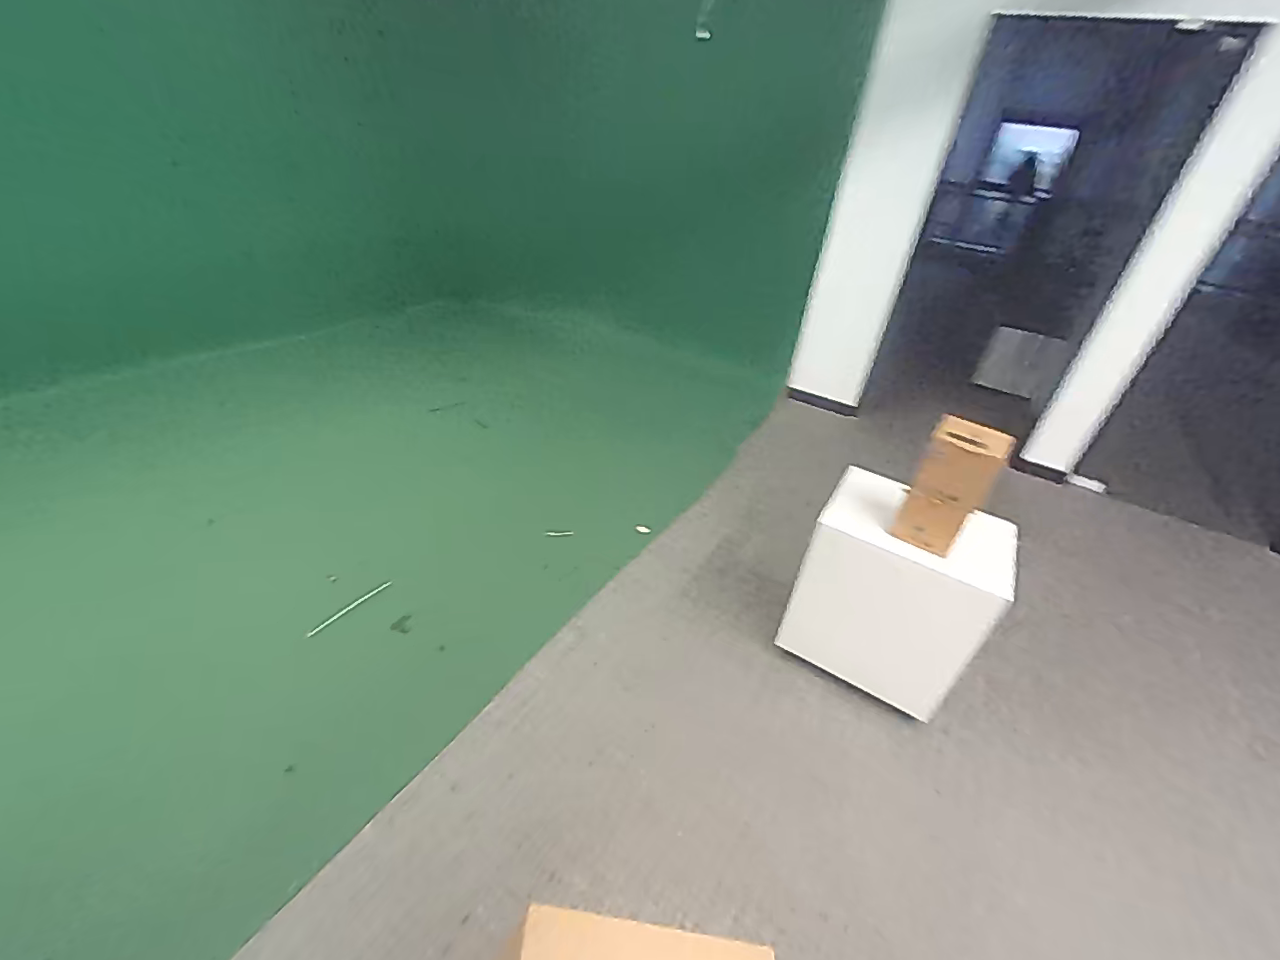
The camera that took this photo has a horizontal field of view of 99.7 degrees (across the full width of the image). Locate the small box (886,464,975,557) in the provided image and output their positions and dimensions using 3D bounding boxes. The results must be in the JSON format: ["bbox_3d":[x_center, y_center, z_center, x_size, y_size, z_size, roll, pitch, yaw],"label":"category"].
[{"bbox_3d":[0.826,0.086,1.543,0.168,0.176,0.179,24,37,26],"label":"small box"}]
